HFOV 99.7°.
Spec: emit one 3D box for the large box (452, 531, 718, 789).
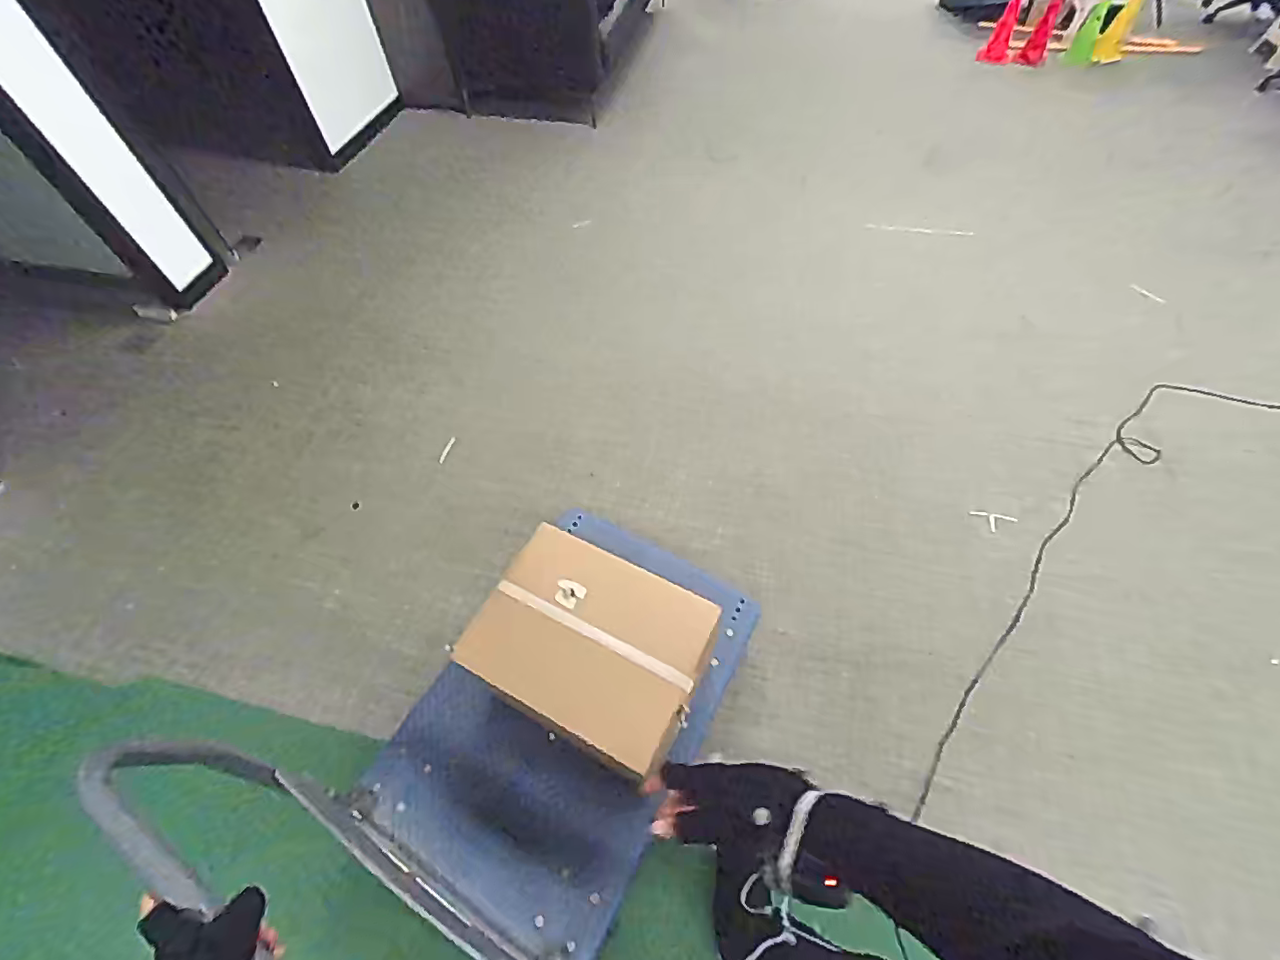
[{"bbox_3d":[-0.085,0.370,1.107,0.408,0.320,0.320,22,59,19],"label":"large box"}]
